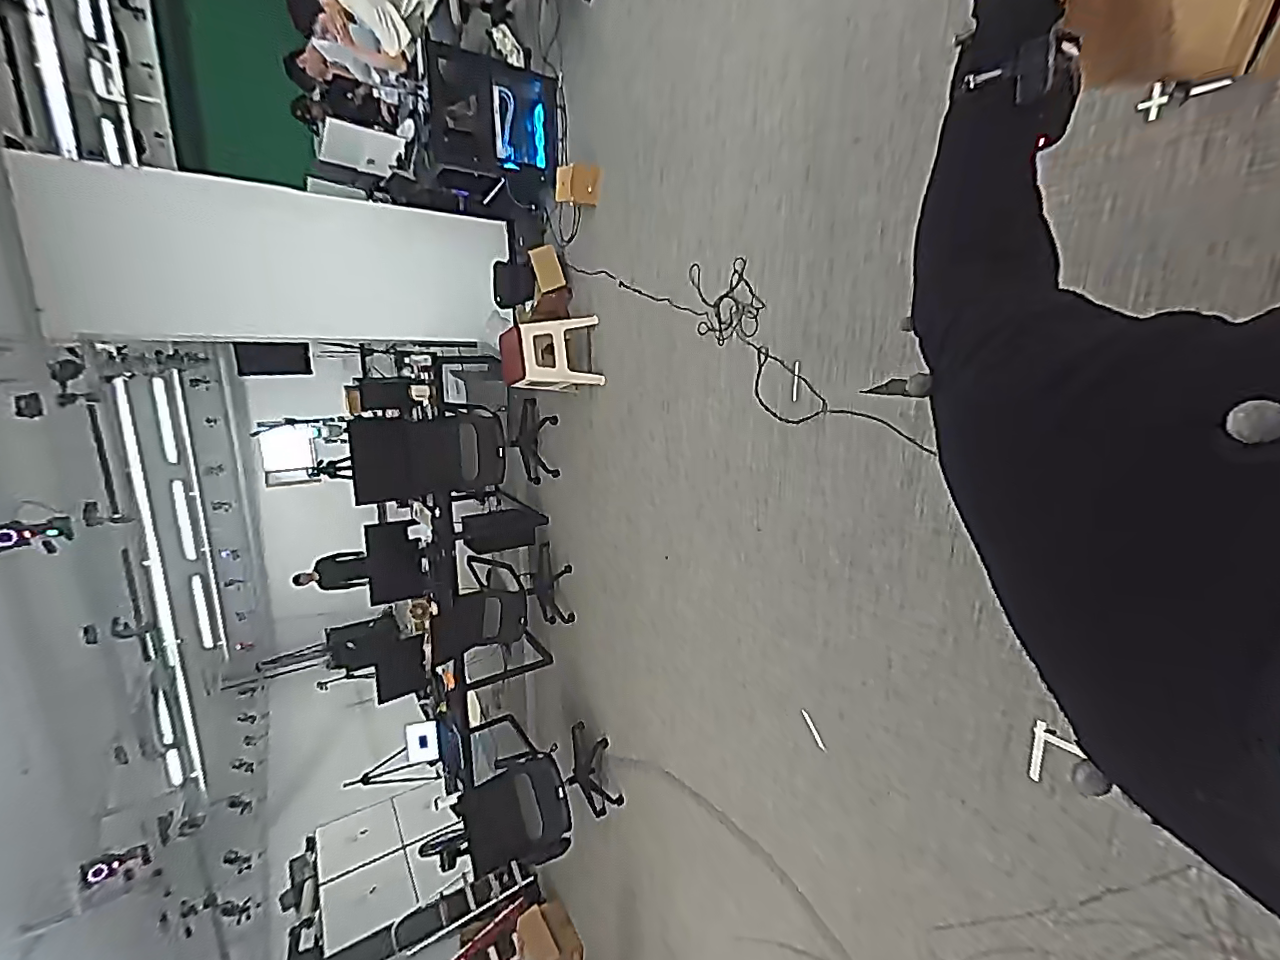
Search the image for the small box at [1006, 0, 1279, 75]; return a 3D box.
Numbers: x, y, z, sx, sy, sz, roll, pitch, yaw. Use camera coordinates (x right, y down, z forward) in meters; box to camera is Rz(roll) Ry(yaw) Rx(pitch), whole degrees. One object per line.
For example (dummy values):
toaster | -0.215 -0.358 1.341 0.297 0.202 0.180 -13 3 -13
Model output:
small box | 0.460 -0.452 0.453 0.179 0.176 0.168 32 138 42
